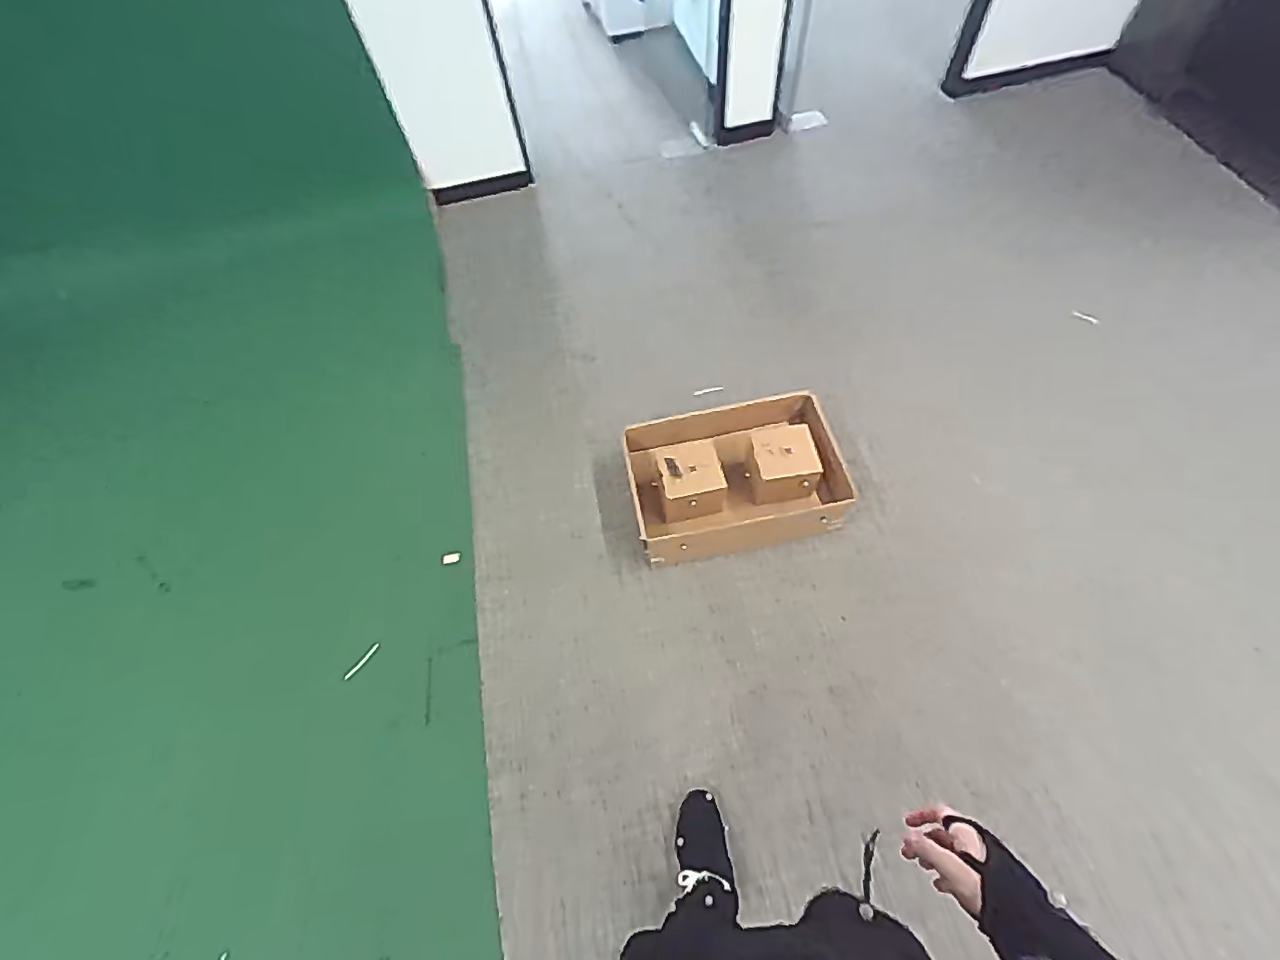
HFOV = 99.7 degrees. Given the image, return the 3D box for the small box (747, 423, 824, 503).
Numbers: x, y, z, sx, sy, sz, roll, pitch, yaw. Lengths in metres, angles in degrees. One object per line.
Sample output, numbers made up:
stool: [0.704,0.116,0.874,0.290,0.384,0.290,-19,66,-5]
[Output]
small box: [0.429,-0.046,1.621,0.179,0.176,0.168,-9,61,2]
